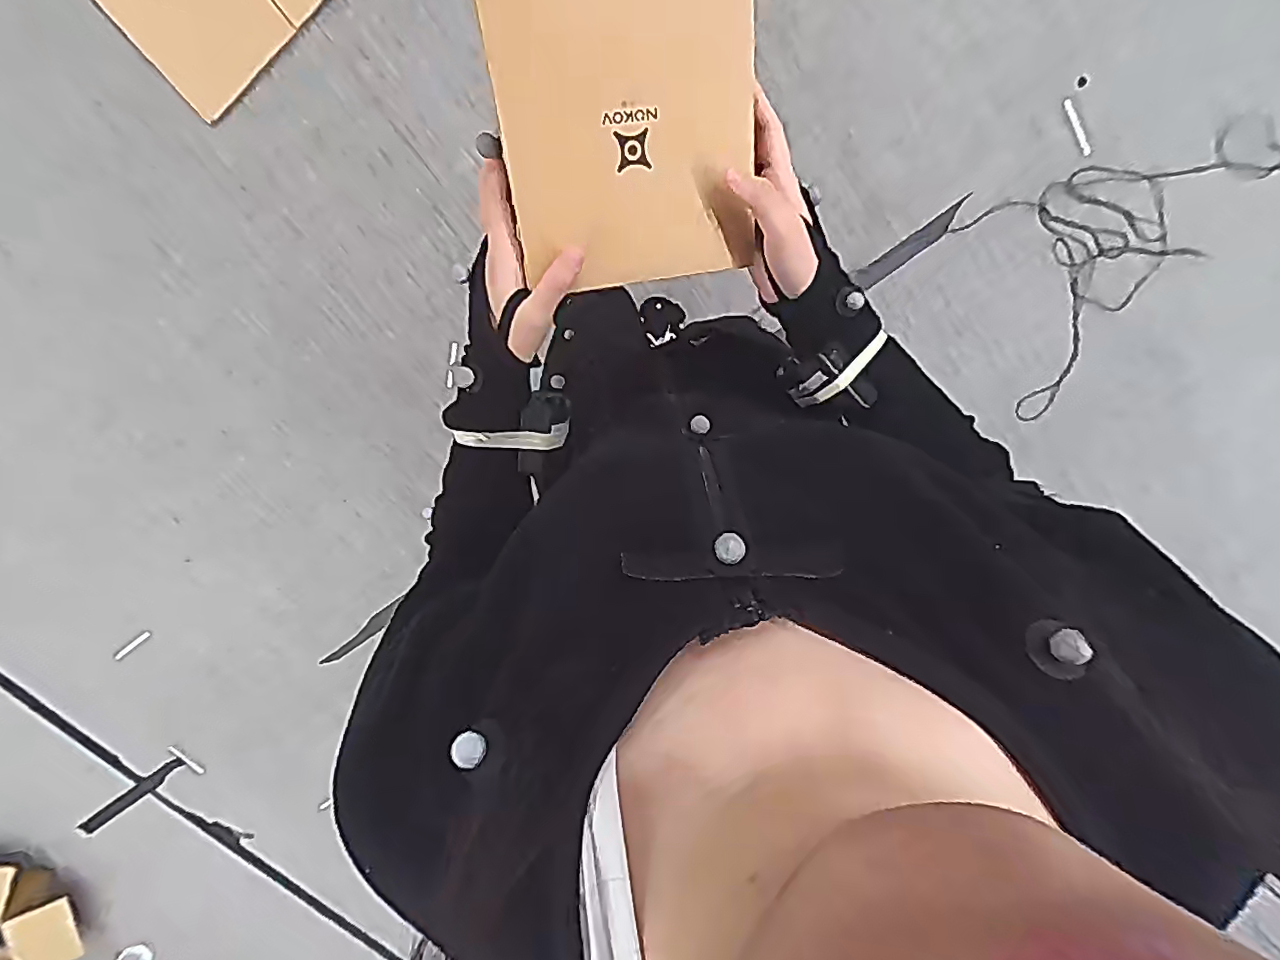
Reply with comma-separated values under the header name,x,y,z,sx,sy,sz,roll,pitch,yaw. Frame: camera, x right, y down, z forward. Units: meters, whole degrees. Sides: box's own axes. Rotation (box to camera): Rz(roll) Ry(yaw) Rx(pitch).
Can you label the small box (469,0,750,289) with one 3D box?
name,x,y,z,sx,sy,sz,roll,pitch,yaw
small box,-0.022,-0.259,0.413,0.168,0.176,0.179,-11,119,-6
